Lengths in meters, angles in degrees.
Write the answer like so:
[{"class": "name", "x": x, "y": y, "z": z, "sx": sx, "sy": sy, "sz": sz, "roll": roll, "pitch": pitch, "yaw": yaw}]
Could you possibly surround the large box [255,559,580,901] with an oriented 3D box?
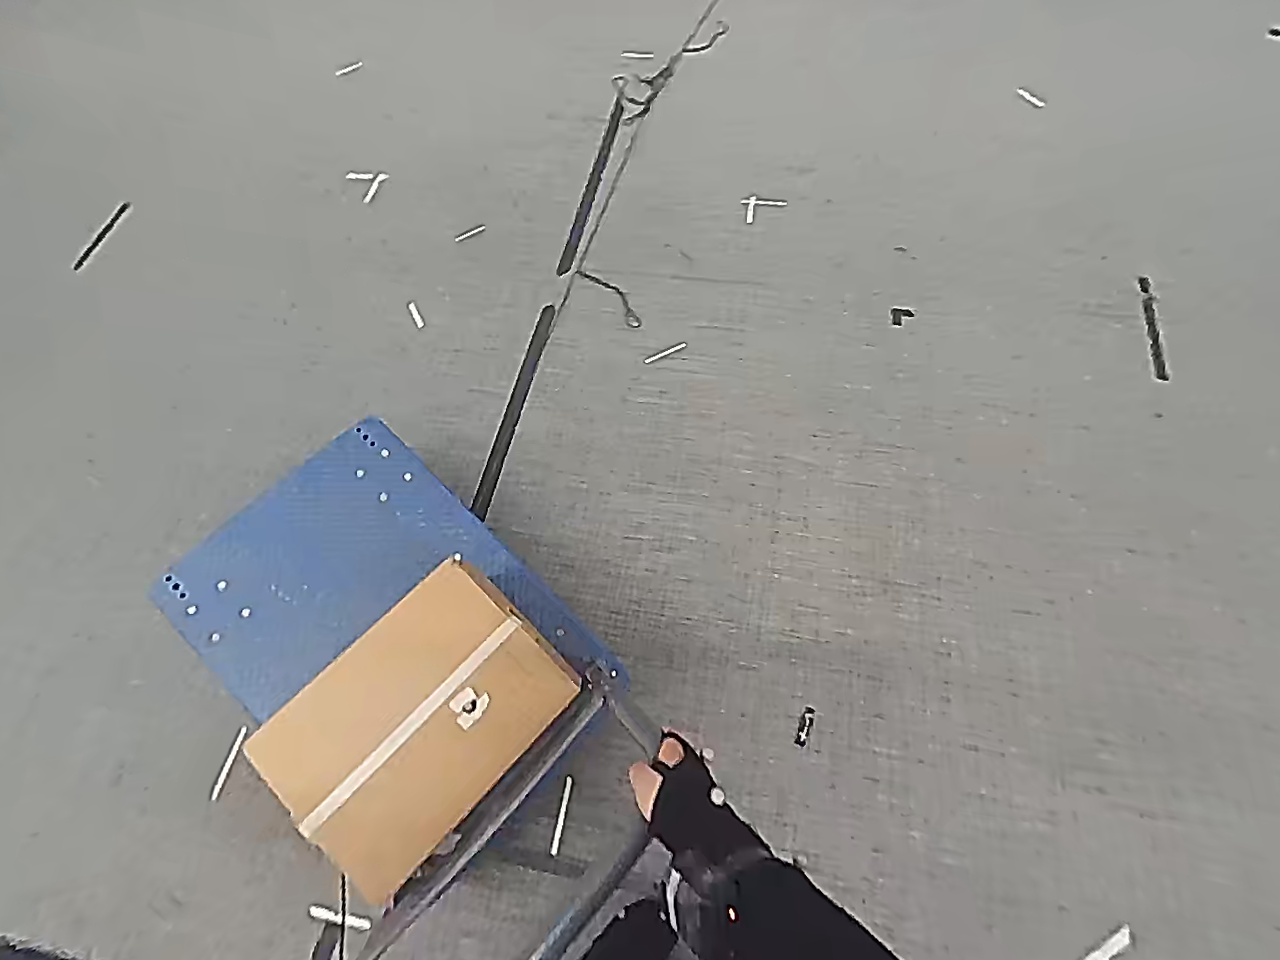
[{"class": "large box", "x": -0.355, "y": 0.414, "z": 0.986, "sx": 0.320, "sy": 0.320, "sz": 0.408, "roll": 43, "pitch": 73, "yaw": 7}]
